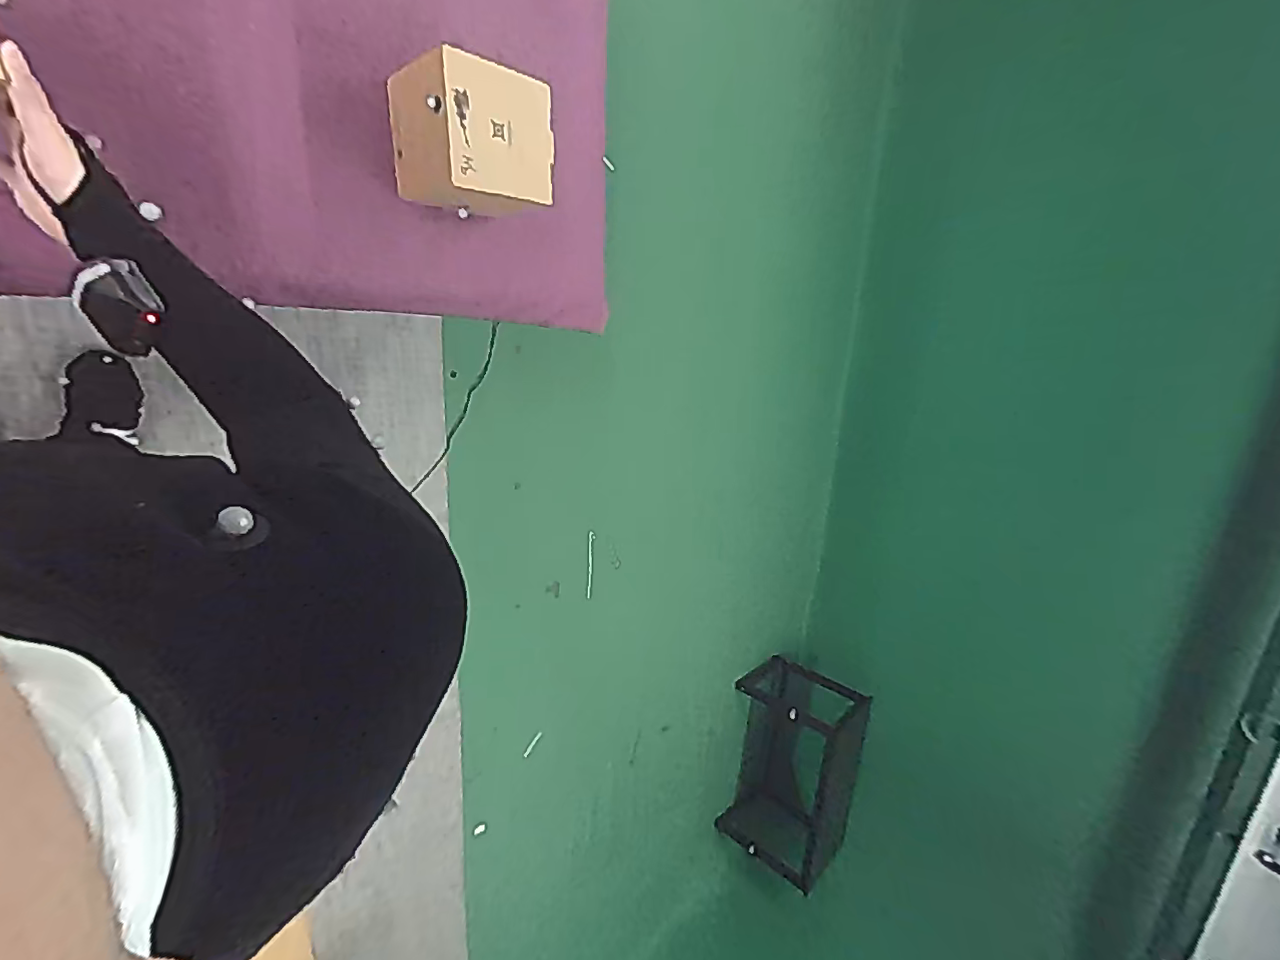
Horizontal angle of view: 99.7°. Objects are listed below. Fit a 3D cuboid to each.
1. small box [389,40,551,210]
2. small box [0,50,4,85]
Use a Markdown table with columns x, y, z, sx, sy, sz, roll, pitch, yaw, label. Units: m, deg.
| x | y | z | sx | sy | sz | roll | pitch | yaw | label |
| --- | --- | --- | --- | --- | --- | --- | --- | --- | --- |
| -0.255 | -0.519 | 0.824 | 0.179 | 0.176 | 0.168 | -15 | 114 | -45 | small box |
| -0.575 | -0.377 | 0.358 | 0.179 | 0.176 | 0.168 | -15 | 117 | -44 | small box |
